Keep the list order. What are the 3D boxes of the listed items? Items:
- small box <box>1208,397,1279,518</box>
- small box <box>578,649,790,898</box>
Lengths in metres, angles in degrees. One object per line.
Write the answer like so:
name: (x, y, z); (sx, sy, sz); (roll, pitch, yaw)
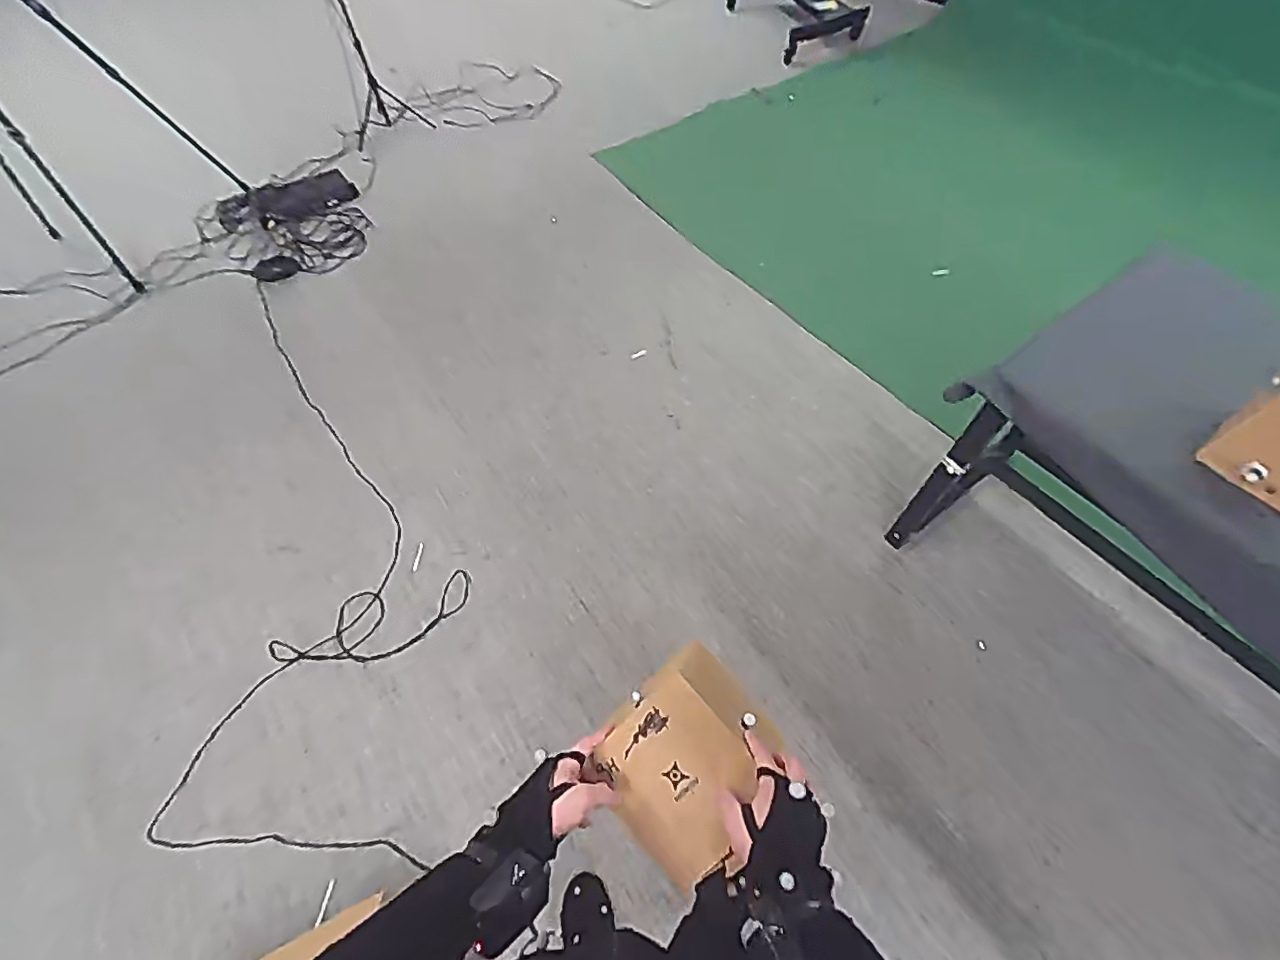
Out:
small box: (1.067, -0.055, 0.842); (0.179, 0.176, 0.168); (-34, 61, -17)
small box: (0.060, 0.337, 0.661); (0.168, 0.176, 0.179); (-44, 79, 5)
